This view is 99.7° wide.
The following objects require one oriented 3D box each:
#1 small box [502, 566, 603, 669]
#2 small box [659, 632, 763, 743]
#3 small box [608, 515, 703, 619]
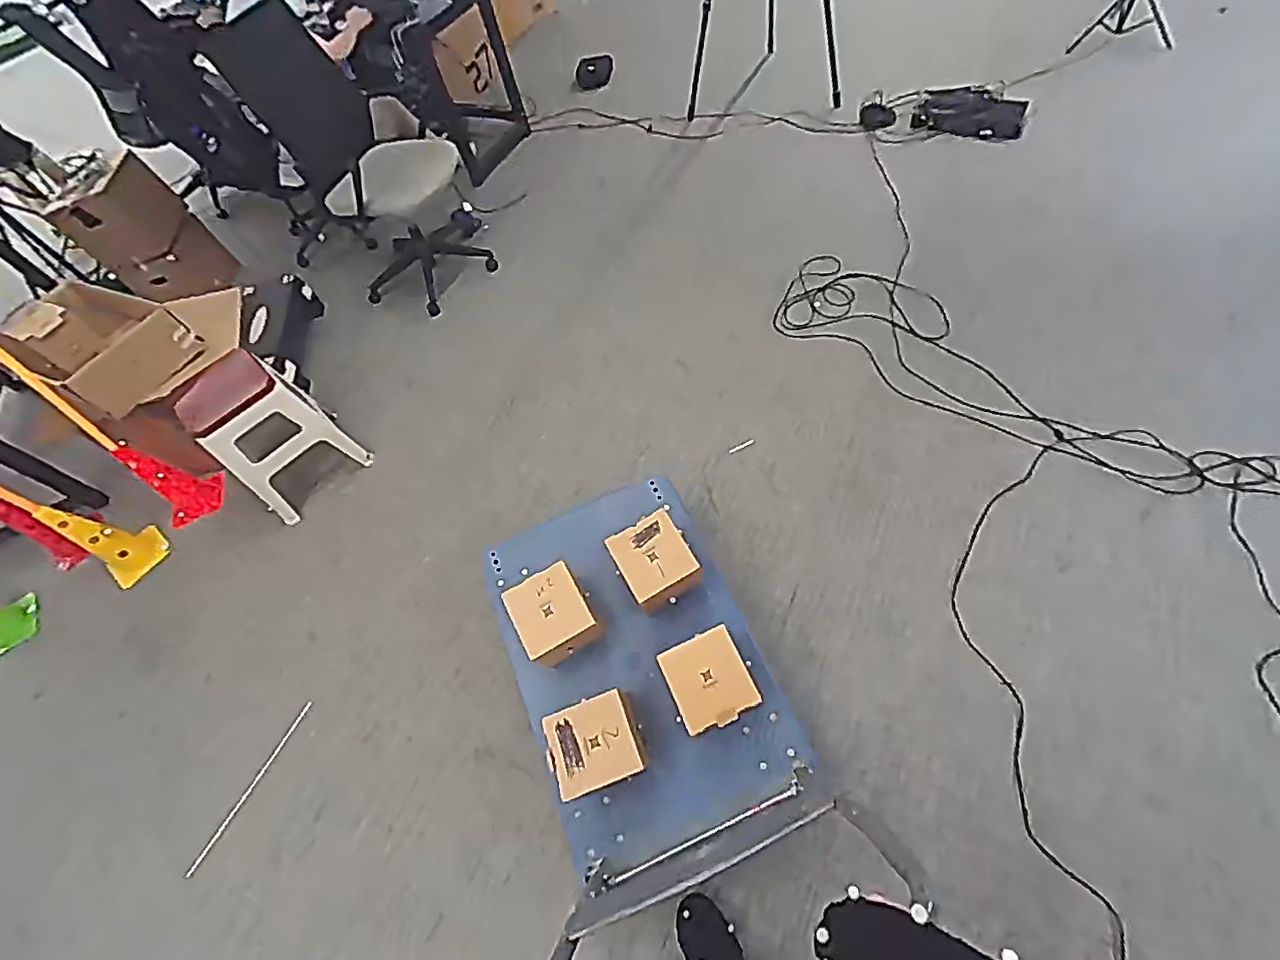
[{"bbox_3d":[-0.202,0.337,1.298,0.168,0.176,0.179,-28,66,-8],"label":"small box"},{"bbox_3d":[0.152,0.465,1.204,0.168,0.176,0.179,-24,66,-5],"label":"small box"},{"bbox_3d":[0.039,0.219,1.327,0.168,0.176,0.179,-28,67,-6],"label":"small box"}]
